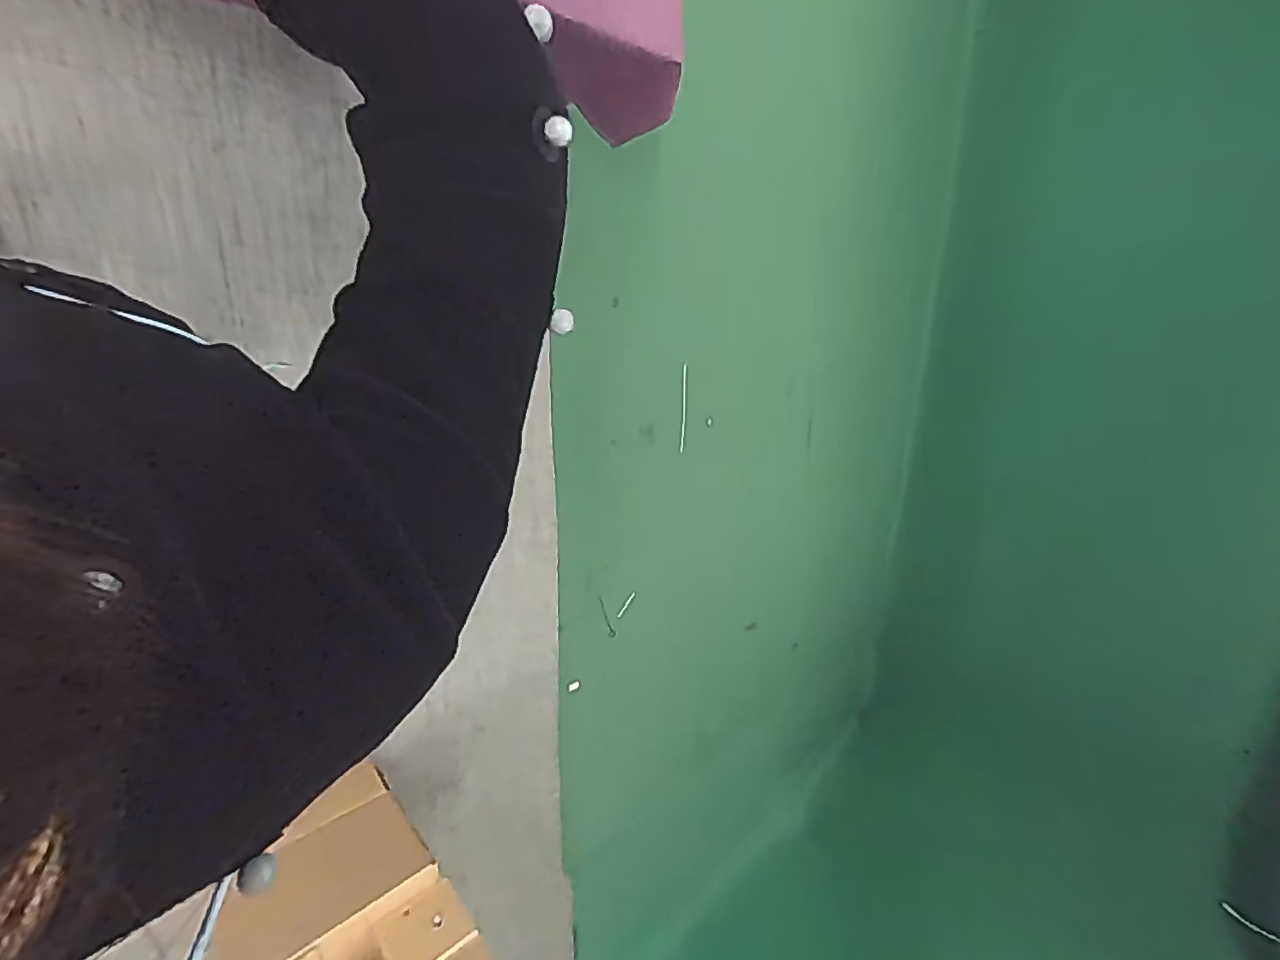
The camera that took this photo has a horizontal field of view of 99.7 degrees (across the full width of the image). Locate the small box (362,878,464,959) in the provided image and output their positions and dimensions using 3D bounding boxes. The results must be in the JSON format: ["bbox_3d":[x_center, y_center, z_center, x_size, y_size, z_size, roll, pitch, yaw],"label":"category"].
[{"bbox_3d":[-0.513,1.055,1.224,0.168,0.176,0.179,-12,111,-43],"label":"small box"}]

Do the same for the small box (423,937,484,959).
[{"bbox_3d":[-0.399,1.105,1.115,0.168,0.176,0.179,-9,109,-43],"label":"small box"}]
